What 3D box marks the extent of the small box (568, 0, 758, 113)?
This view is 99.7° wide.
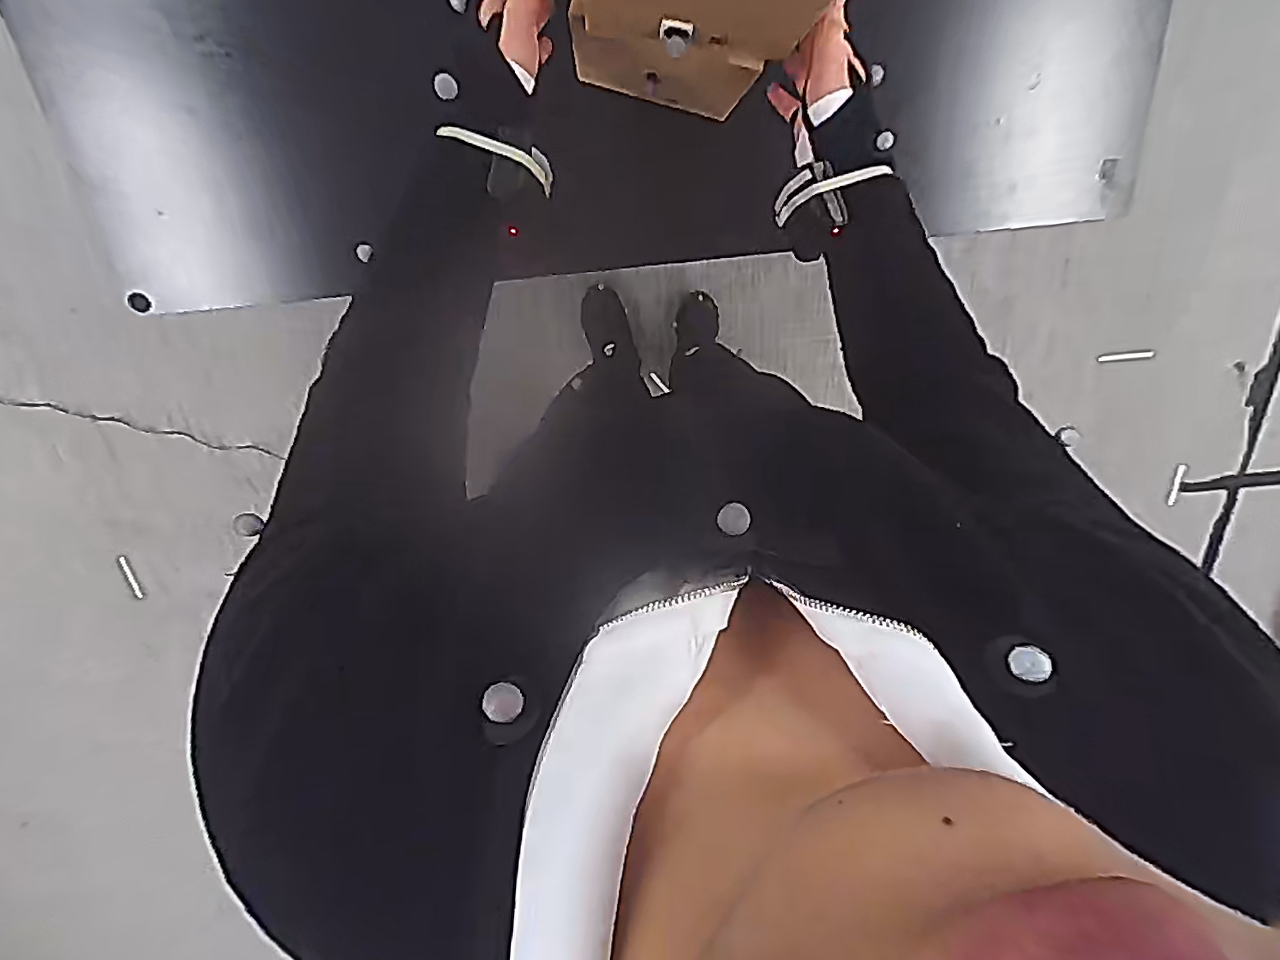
[{"bbox_3d":[0.036,-0.469,0.494,0.168,0.176,0.179,11,110,-8],"label":"small box"}]

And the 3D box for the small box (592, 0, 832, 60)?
[{"bbox_3d":[0.050,-0.407,0.344,0.168,0.176,0.179,2,112,-3],"label":"small box"}]
